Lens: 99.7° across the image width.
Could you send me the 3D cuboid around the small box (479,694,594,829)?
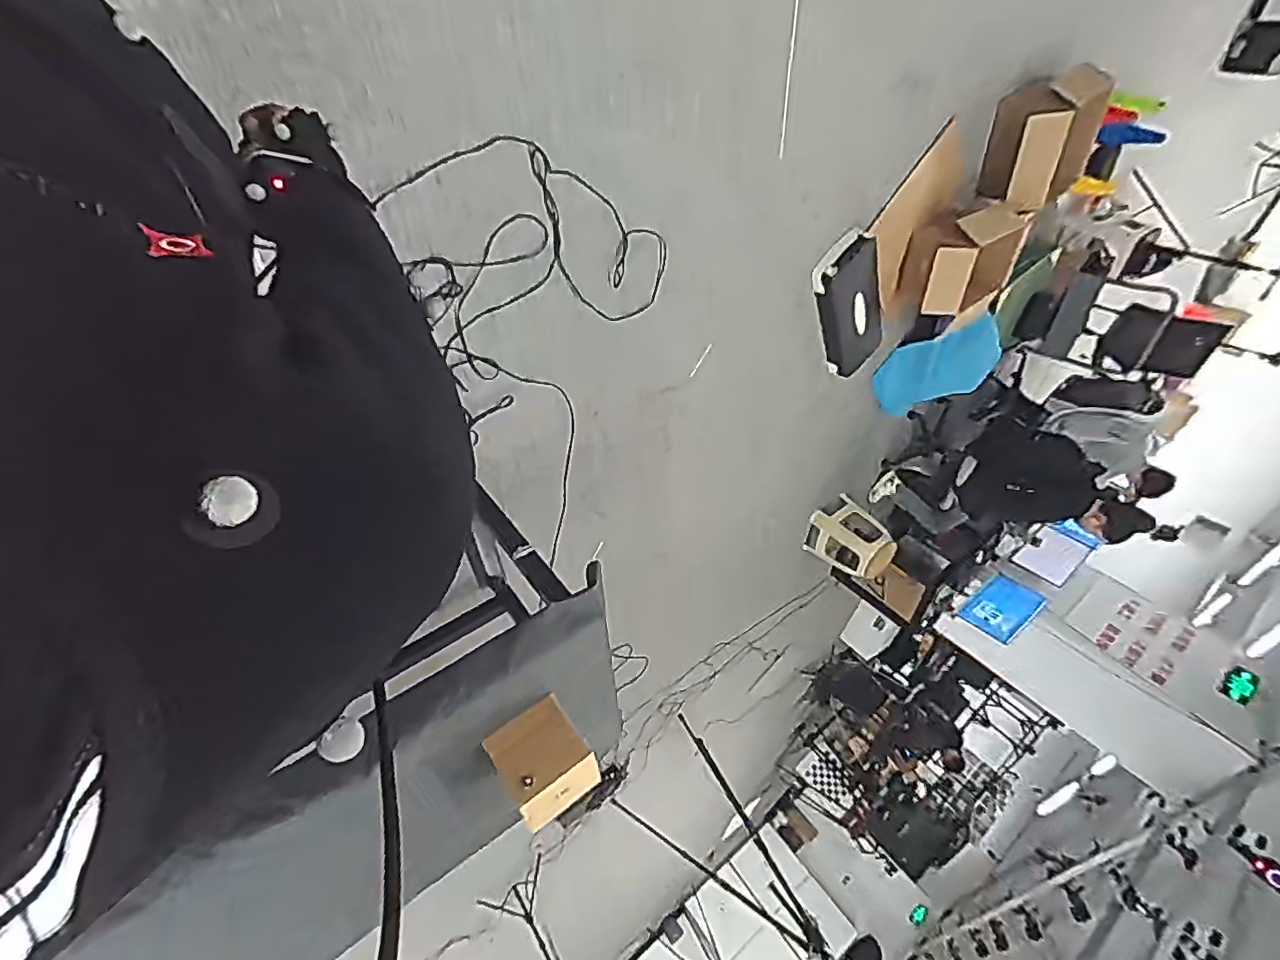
[{"bbox_3d":[-0.223,0.606,1.179,0.179,0.176,0.168,-28,139,-24],"label":"small box"}]
